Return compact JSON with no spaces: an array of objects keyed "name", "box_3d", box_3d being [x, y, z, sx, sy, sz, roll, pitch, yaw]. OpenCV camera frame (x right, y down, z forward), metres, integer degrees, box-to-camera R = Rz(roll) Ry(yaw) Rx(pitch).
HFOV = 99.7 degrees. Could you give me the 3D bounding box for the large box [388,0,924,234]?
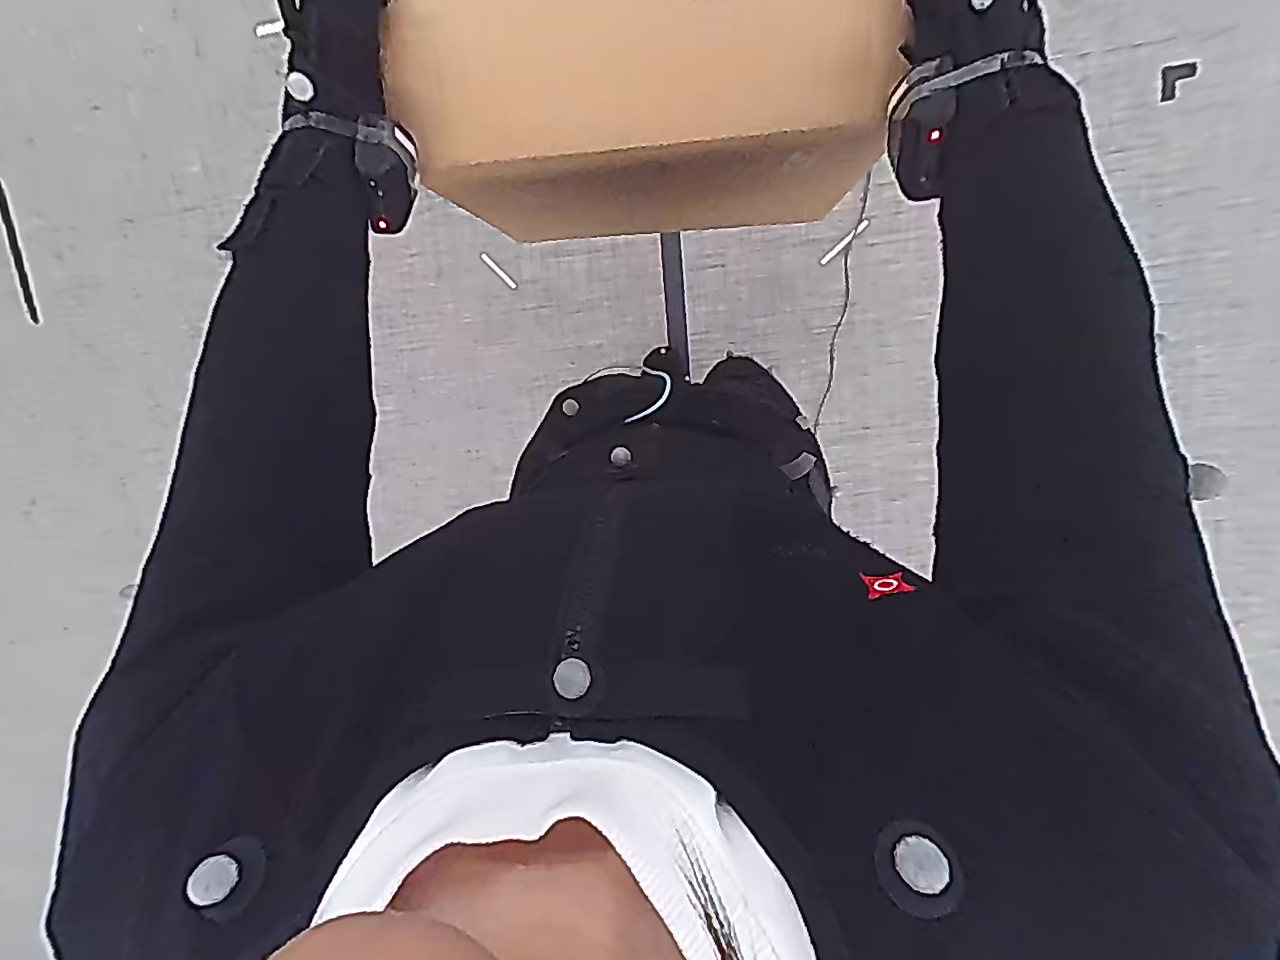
[{"name":"large box","box_3d":[0.012,-0.454,0.530,0.408,0.320,0.320,-2,104,6]}]
